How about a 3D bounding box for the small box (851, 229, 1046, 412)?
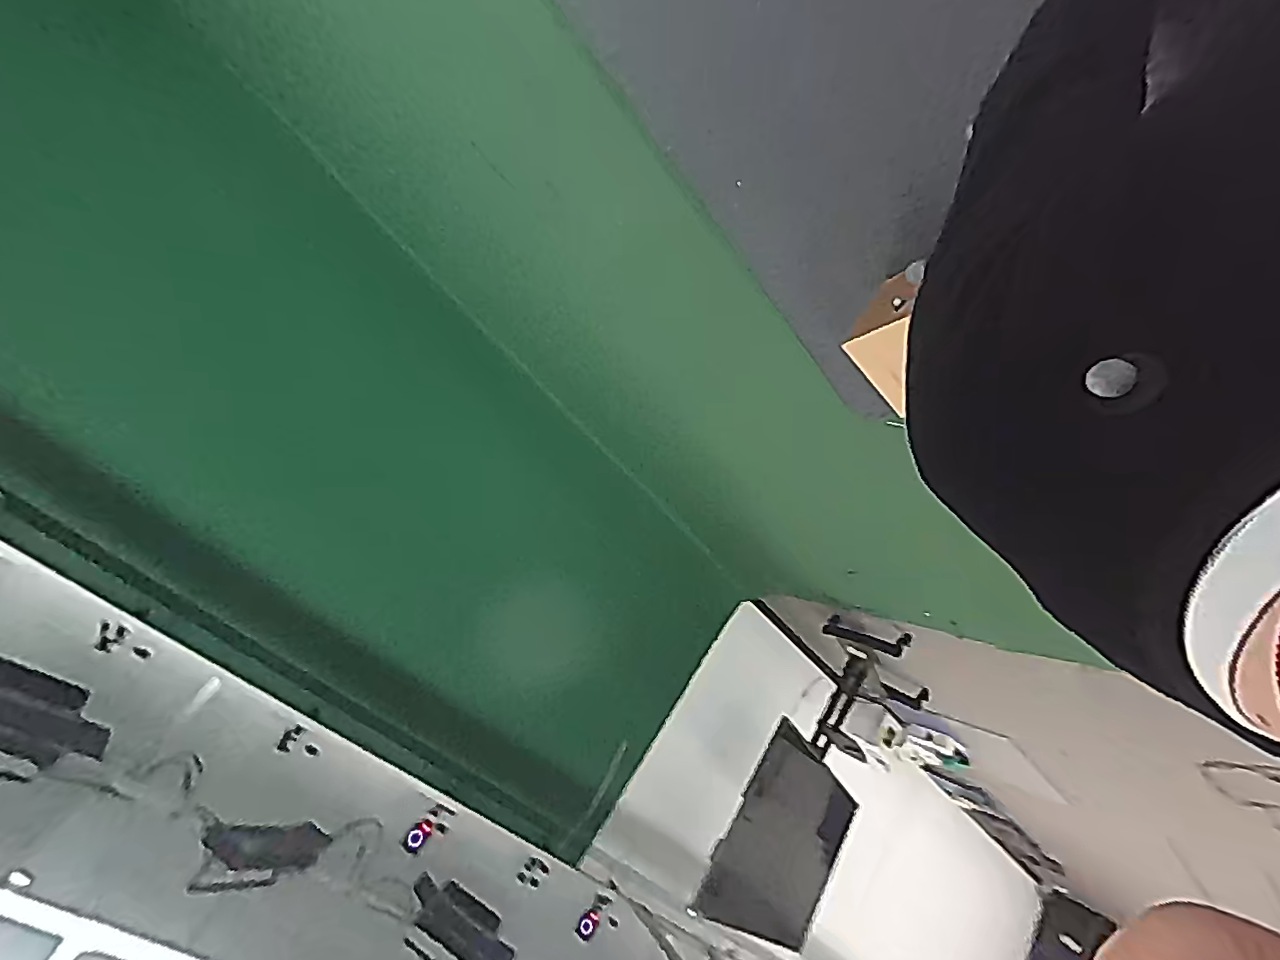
[{"bbox_3d":[0.461,-0.231,0.803,0.168,0.176,0.179,44,160,-14],"label":"small box"}]
